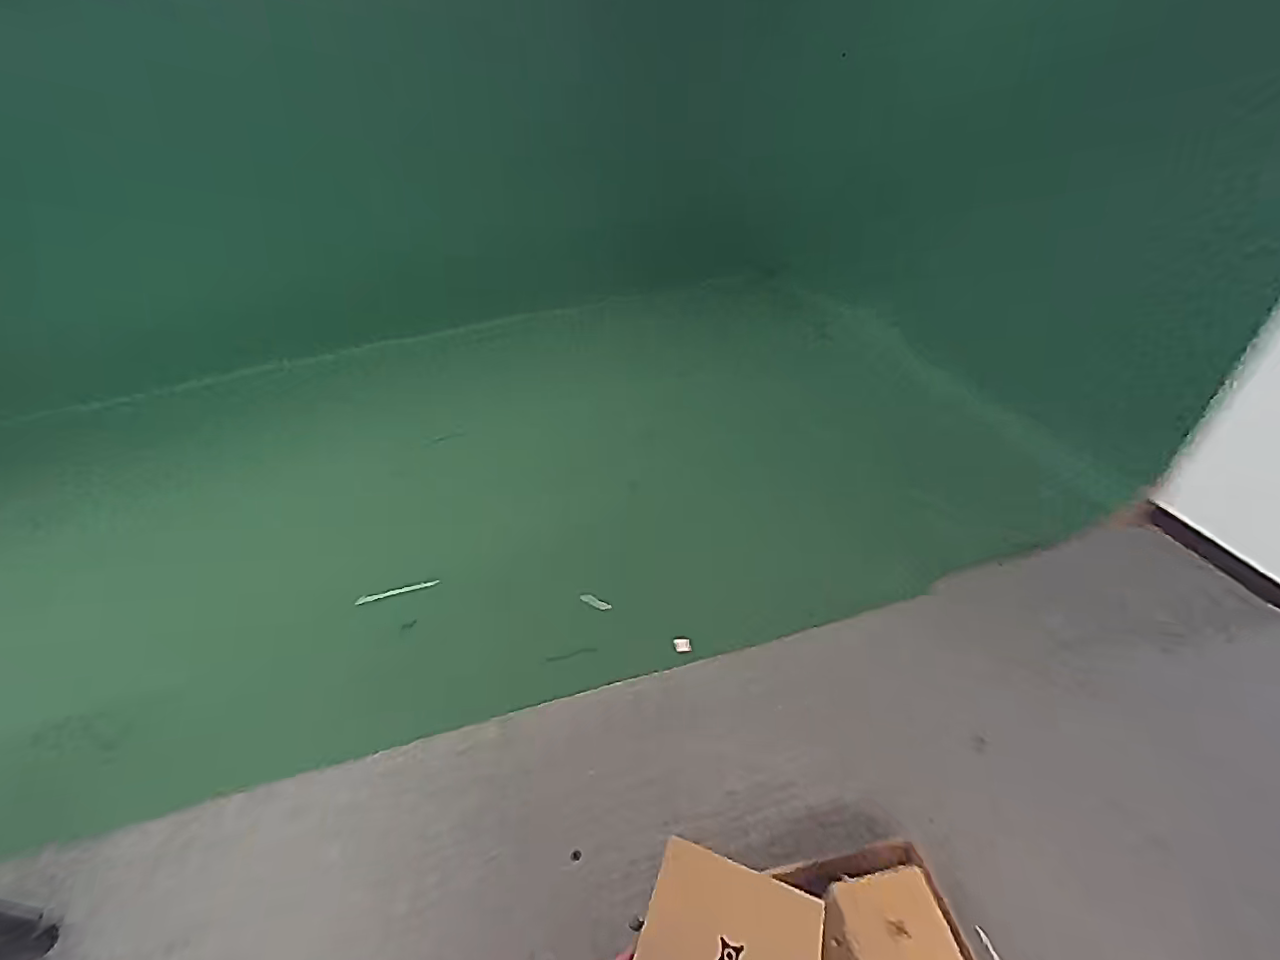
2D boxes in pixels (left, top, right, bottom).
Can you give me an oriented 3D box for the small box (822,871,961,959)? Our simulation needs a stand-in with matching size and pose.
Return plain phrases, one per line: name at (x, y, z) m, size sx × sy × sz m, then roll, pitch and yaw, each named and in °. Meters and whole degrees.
small box at (0.458, 0.854, 0.998) m, size 0.179 × 0.176 × 0.168 m, roll -10°, pitch 42°, yaw -4°
